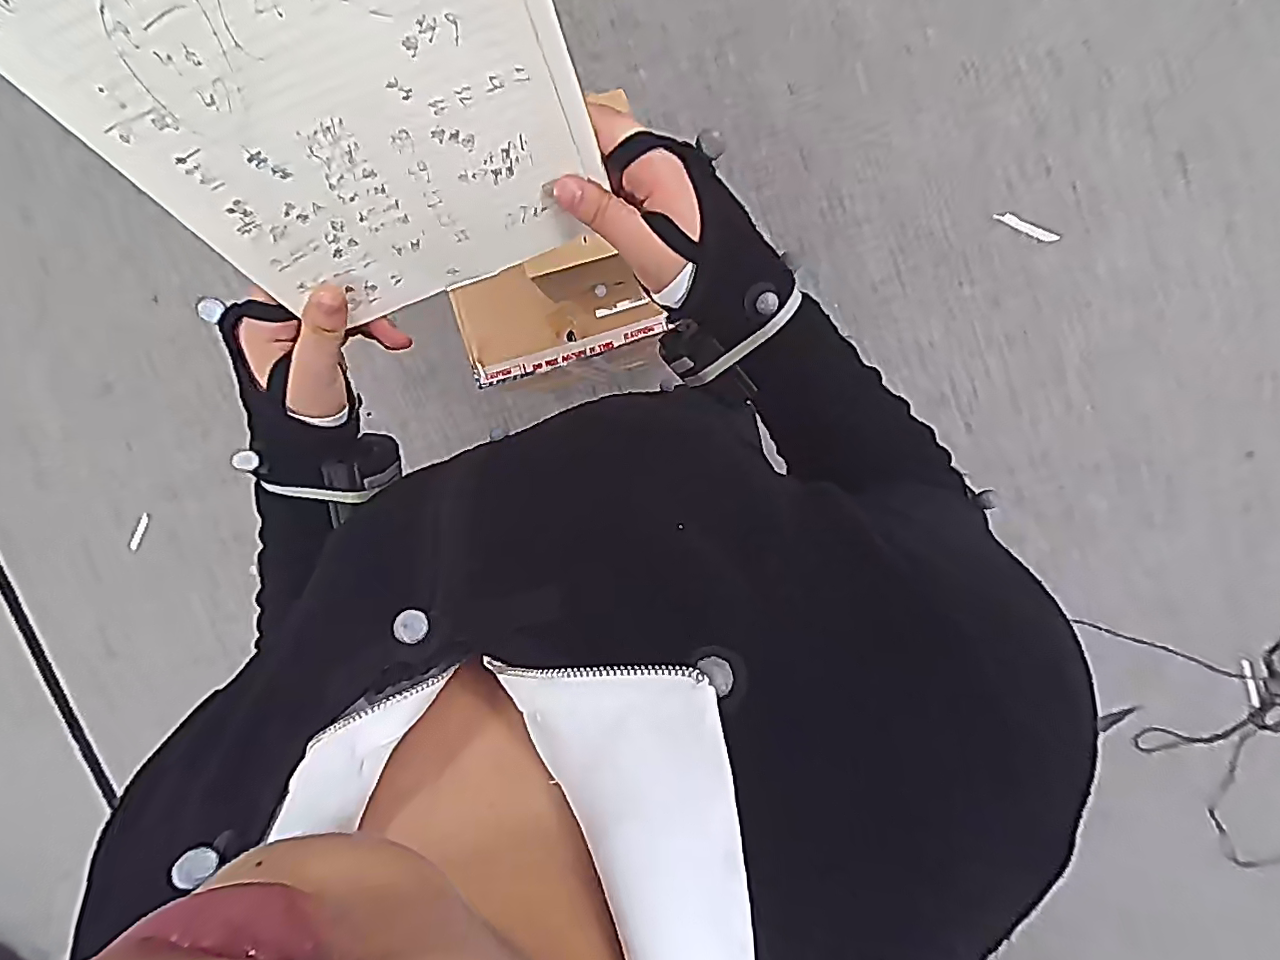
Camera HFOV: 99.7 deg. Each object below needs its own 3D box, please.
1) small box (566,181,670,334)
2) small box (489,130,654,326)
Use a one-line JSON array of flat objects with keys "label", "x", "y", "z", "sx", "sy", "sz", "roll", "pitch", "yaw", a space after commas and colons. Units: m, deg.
[{"label": "small box", "x": -0.057, "y": -0.352, "z": 0.887, "sx": 0.179, "sy": 0.176, "sz": 0.168, "roll": -17, "pitch": 97, "yaw": 5}, {"label": "small box", "x": -0.081, "y": -0.321, "z": 0.726, "sx": 0.168, "sy": 0.176, "sz": 0.179, "roll": -14, "pitch": 98, "yaw": 4}]
